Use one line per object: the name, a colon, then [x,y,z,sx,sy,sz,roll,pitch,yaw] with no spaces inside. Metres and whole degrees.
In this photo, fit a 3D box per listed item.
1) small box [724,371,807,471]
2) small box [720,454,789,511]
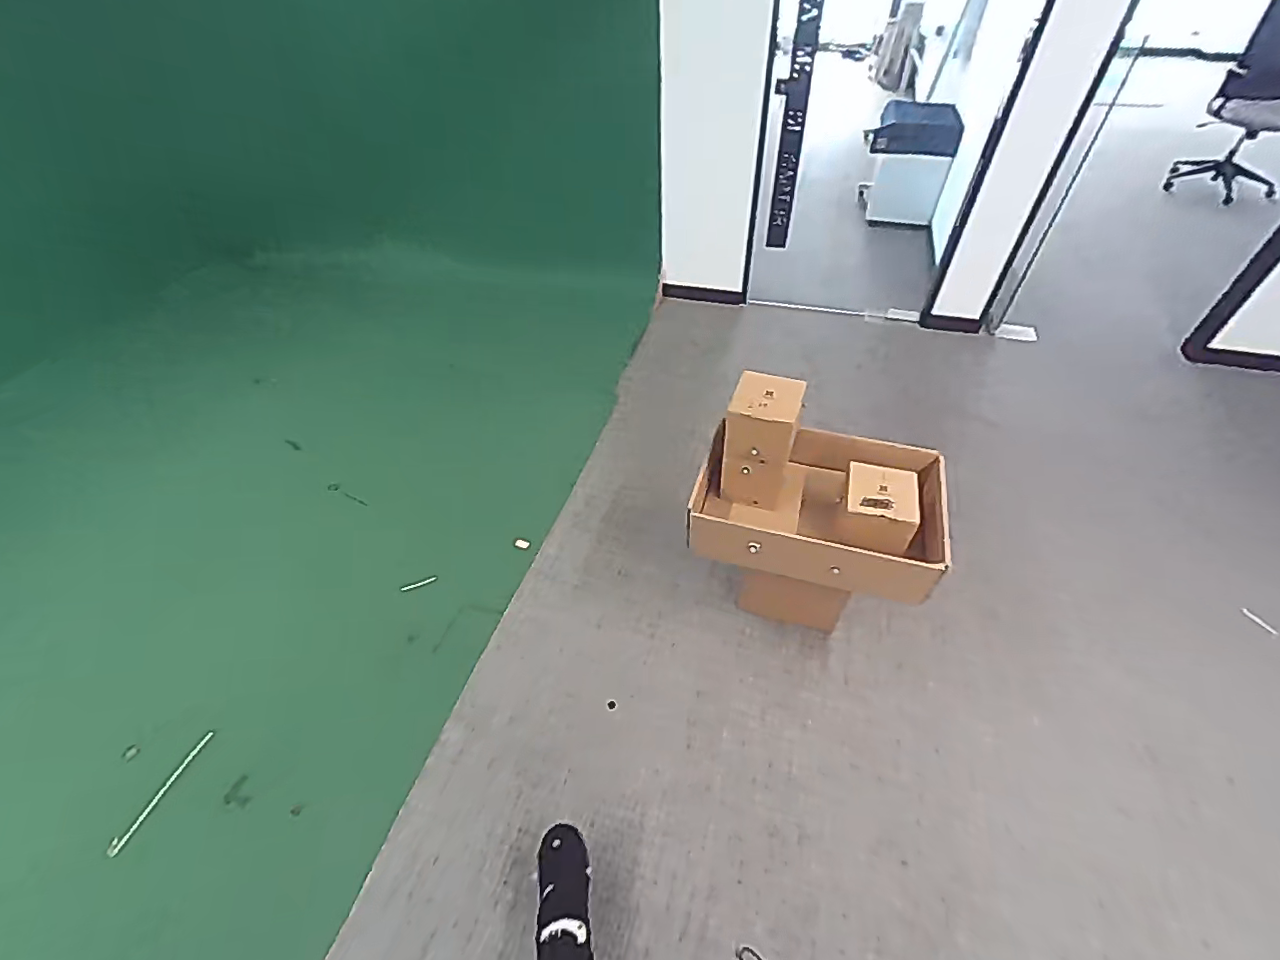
small box: [0.323,-0.154,1.408,0.168,0.176,0.179,15,50,16]
small box: [0.327,-0.043,1.529,0.168,0.176,0.179,13,49,14]
